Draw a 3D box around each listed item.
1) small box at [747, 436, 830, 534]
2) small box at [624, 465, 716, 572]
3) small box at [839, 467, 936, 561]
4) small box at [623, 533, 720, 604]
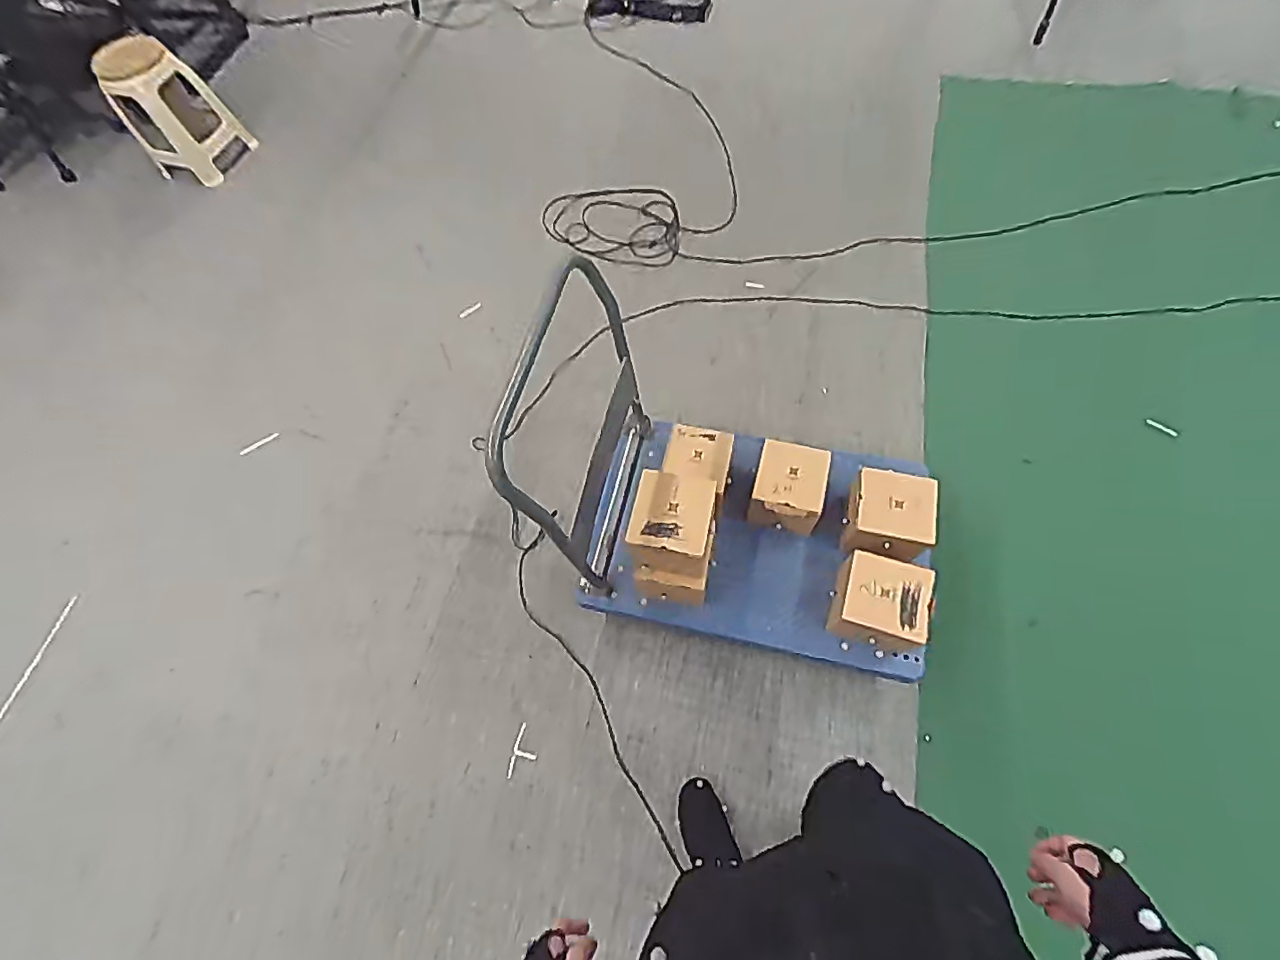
[{"bbox_3d":[0.377,0.017,1.395,0.168,0.176,0.179,14,67,12],"label":"small box"},{"bbox_3d":[0.072,0.091,1.205,0.168,0.176,0.179,10,66,9],"label":"small box"},{"bbox_3d":[0.605,0.089,1.340,0.179,0.176,0.168,12,67,11],"label":"small box"},{"bbox_3d":[0.081,0.185,1.351,0.179,0.176,0.168,40,76,21],"label":"small box"}]
